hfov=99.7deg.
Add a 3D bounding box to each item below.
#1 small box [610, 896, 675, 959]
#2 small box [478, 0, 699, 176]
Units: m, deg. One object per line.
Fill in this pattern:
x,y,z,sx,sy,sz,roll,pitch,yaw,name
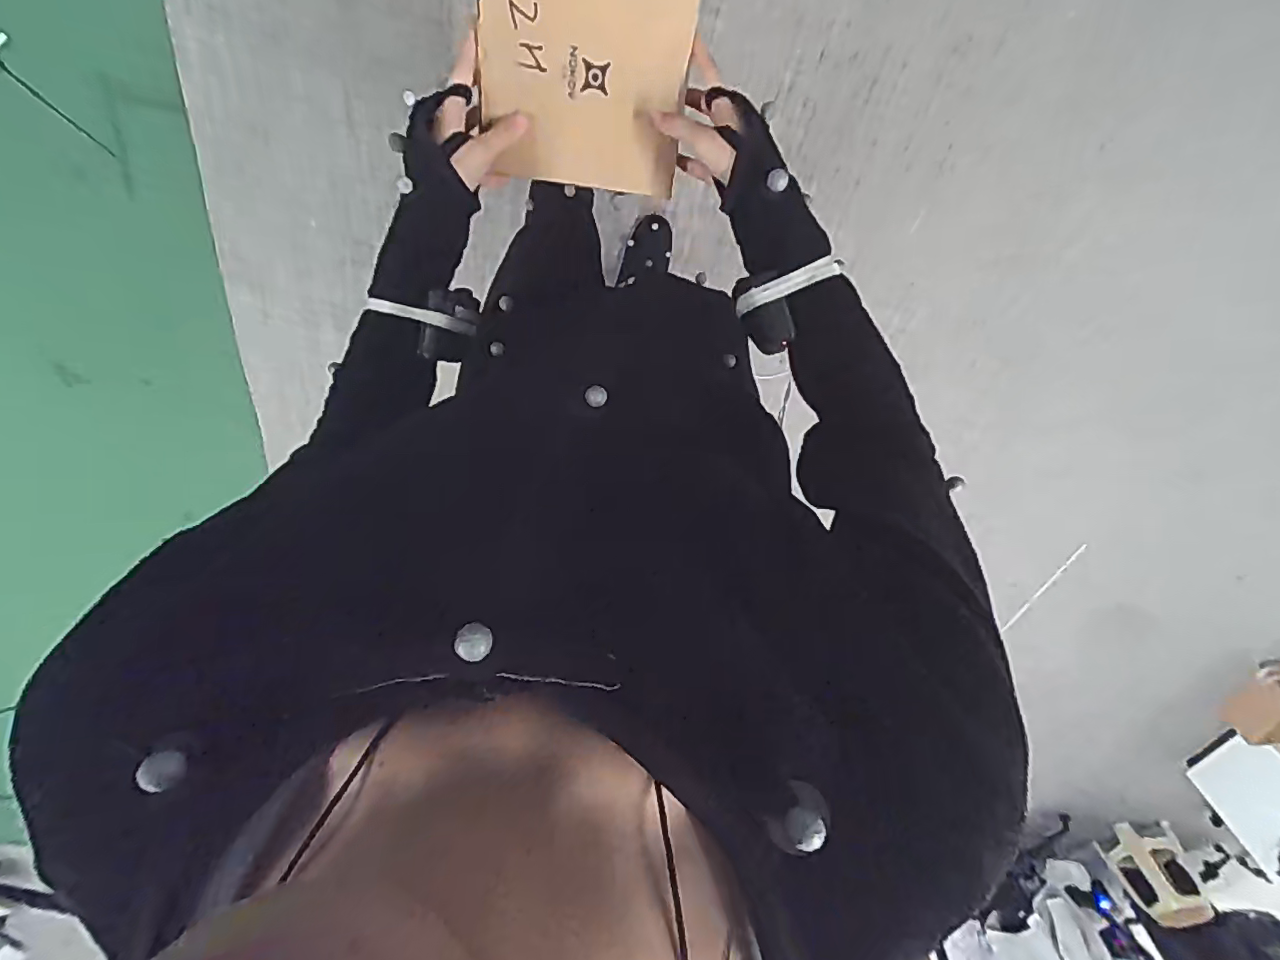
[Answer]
0.007,1.604,1.915,0.179,0.176,0.168,20,124,-15,small box
-0.053,-0.401,0.515,0.179,0.176,0.168,5,121,-9,small box
